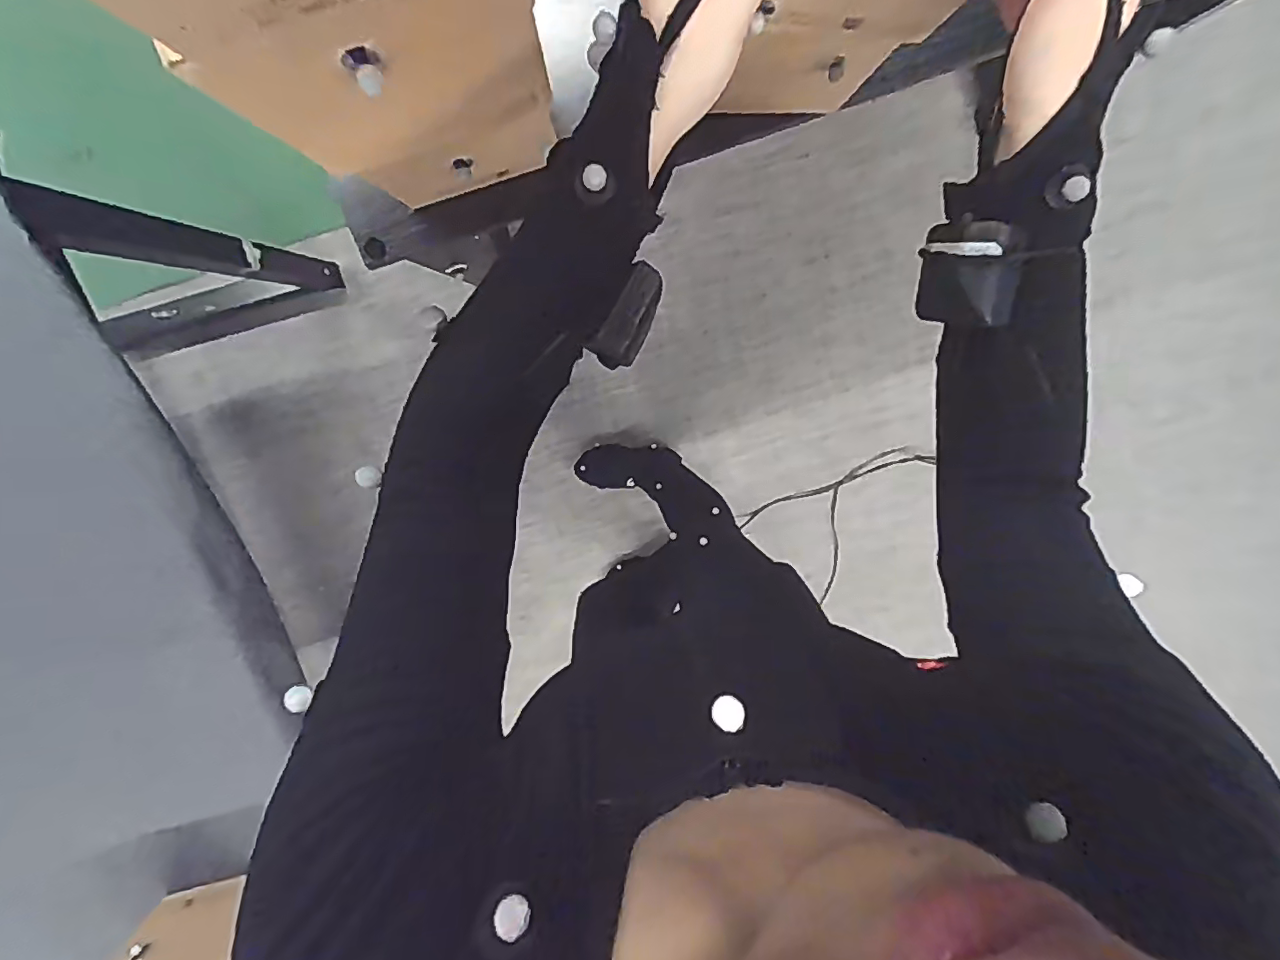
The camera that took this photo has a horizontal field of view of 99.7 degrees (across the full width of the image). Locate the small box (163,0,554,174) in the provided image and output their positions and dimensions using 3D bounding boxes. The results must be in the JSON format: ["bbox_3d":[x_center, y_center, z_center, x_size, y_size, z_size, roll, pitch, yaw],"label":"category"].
[{"bbox_3d":[-0.156,-0.307,0.310,0.179,0.176,0.168,-17,104,2],"label":"small box"}]

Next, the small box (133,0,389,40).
[{"bbox_3d":[-0.141,-0.269,0.150,0.168,0.176,0.179,-16,105,2],"label":"small box"}]

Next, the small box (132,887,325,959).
[{"bbox_3d":[-0.564,0.678,0.711,0.168,0.176,0.179,-17,104,5],"label":"small box"}]
